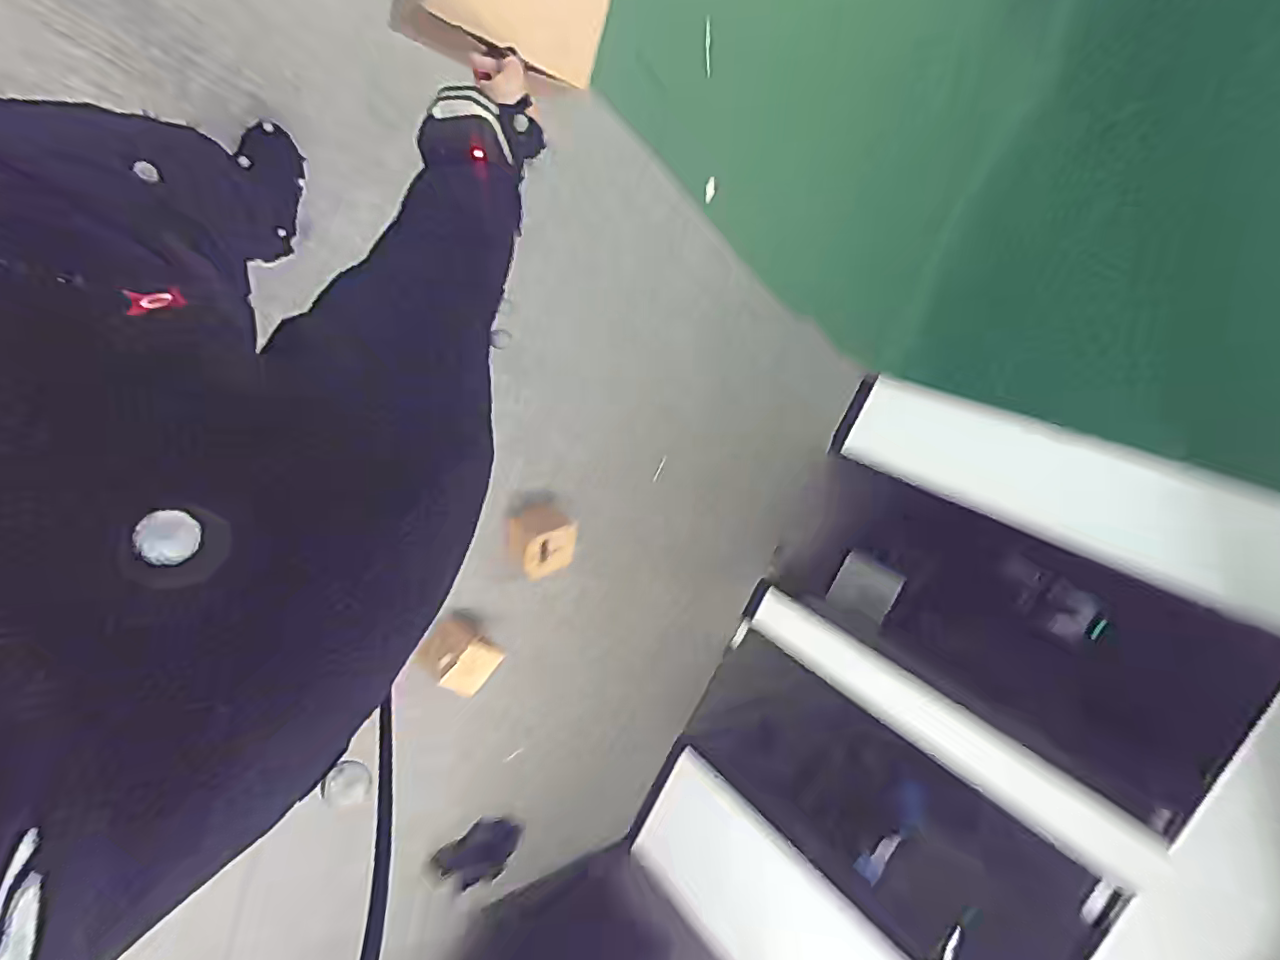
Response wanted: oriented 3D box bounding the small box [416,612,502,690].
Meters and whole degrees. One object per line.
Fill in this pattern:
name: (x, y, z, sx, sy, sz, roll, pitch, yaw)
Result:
small box: (-0.602, 0.564, 1.796, 0.168, 0.176, 0.179, -52, 141, -8)
